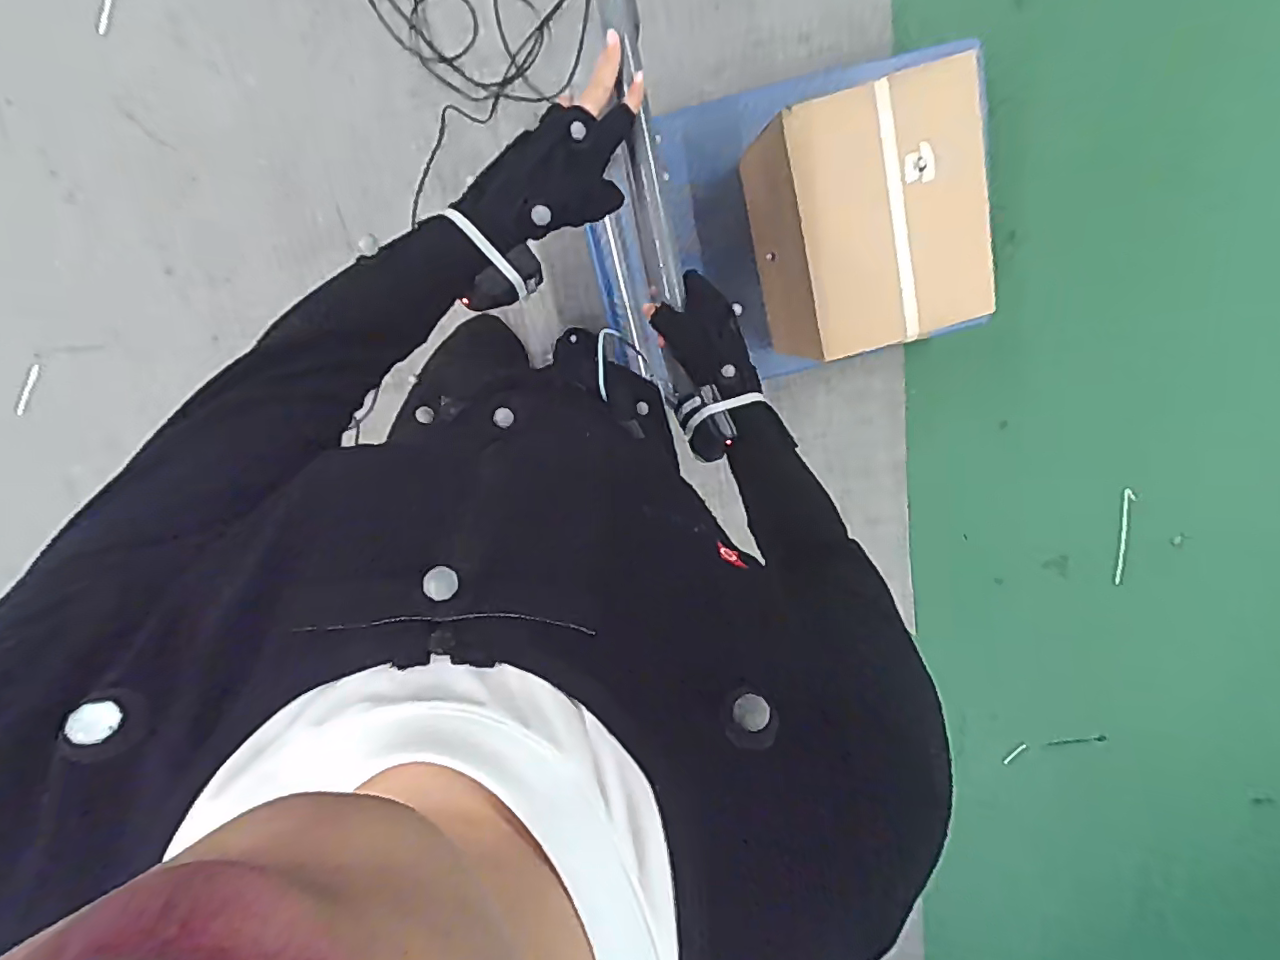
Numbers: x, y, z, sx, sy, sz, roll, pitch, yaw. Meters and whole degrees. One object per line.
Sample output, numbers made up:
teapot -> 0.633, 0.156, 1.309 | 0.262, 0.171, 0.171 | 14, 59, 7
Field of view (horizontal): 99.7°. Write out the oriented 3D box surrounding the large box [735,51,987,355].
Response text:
large box -> 0.403, -0.487, 1.043 | 0.320, 0.320, 0.408 | -16, 107, 1
